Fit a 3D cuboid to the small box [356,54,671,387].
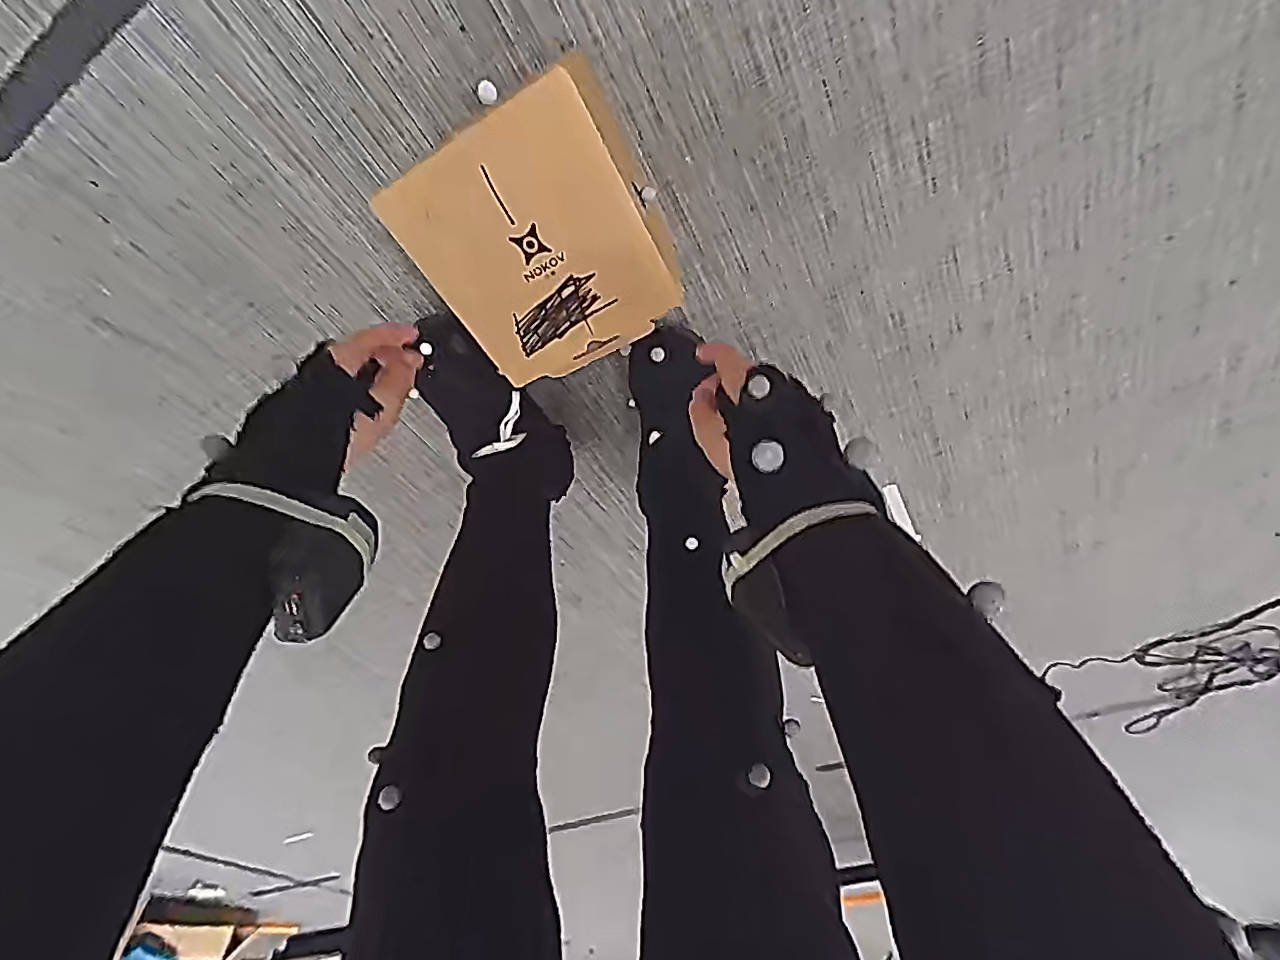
[{"bbox_3d":[-0.086,-0.218,0.456,0.168,0.176,0.179,-24,127,16],"label":"small box"}]
